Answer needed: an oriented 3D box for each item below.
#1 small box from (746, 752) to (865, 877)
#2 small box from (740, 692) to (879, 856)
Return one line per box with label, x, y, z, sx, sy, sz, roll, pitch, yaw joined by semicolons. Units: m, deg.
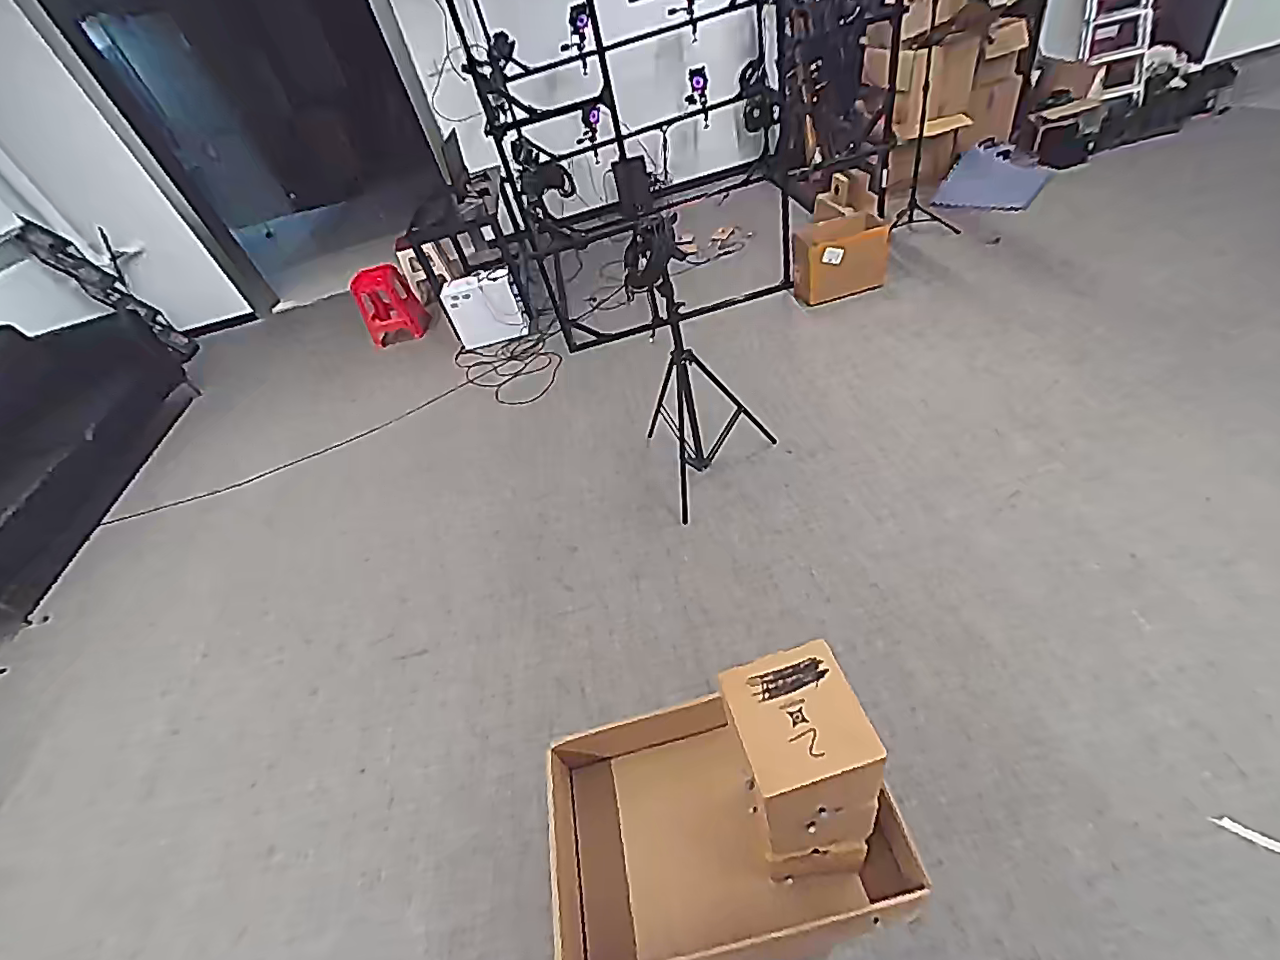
small box;0.298;0.606;0.992;0.168;0.176;0.179;-11;42;5
small box;0.270;0.483;0.888;0.168;0.176;0.179;-14;41;3
